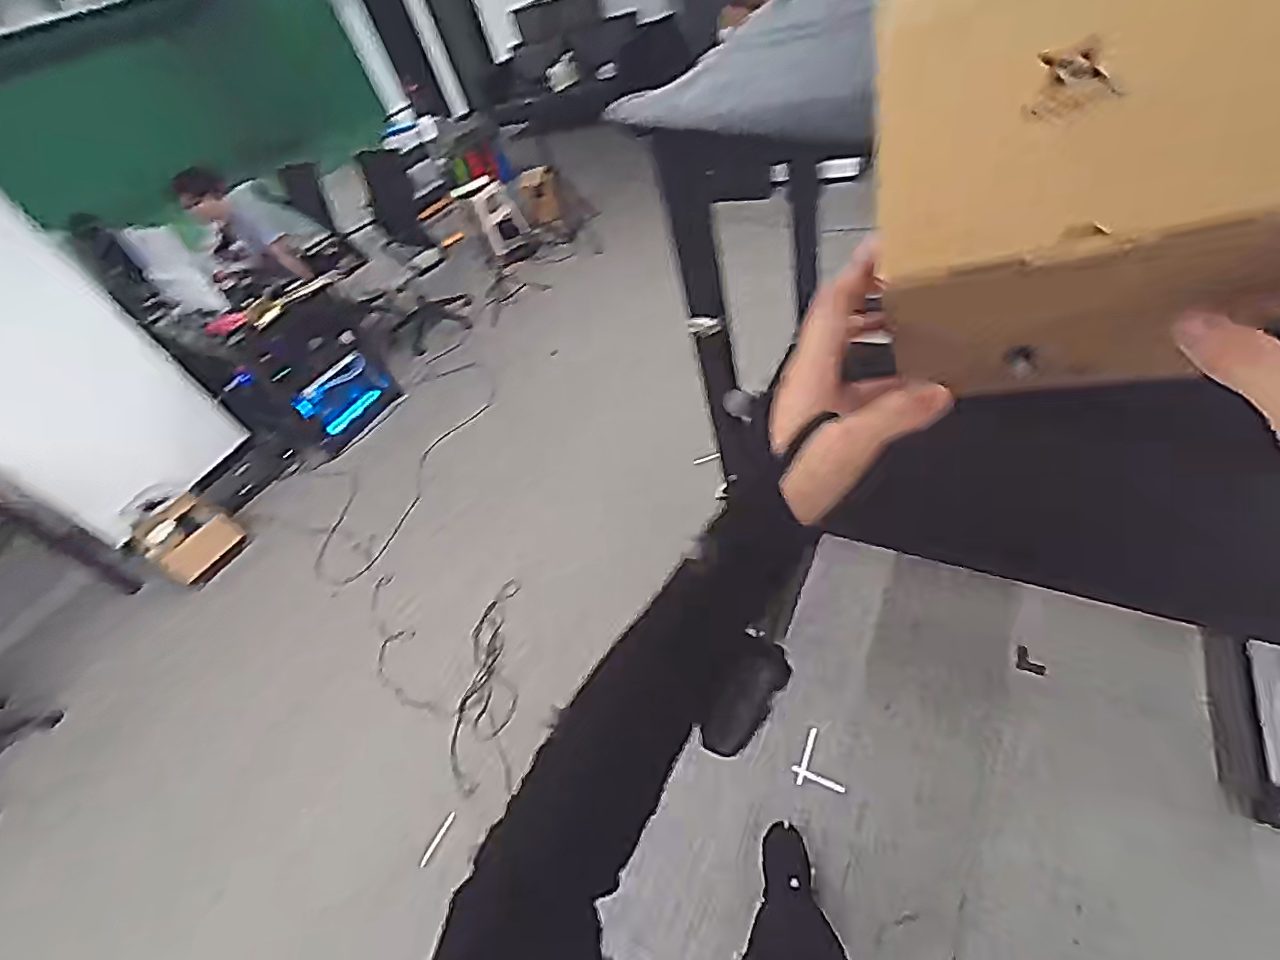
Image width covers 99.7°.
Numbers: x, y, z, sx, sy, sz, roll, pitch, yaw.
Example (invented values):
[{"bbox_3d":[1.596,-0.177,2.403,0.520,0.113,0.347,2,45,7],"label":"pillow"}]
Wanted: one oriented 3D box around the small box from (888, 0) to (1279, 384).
[{"bbox_3d":[0.237,-0.171,0.308,0.168,0.176,0.179,-2,79,29],"label":"small box"}]
